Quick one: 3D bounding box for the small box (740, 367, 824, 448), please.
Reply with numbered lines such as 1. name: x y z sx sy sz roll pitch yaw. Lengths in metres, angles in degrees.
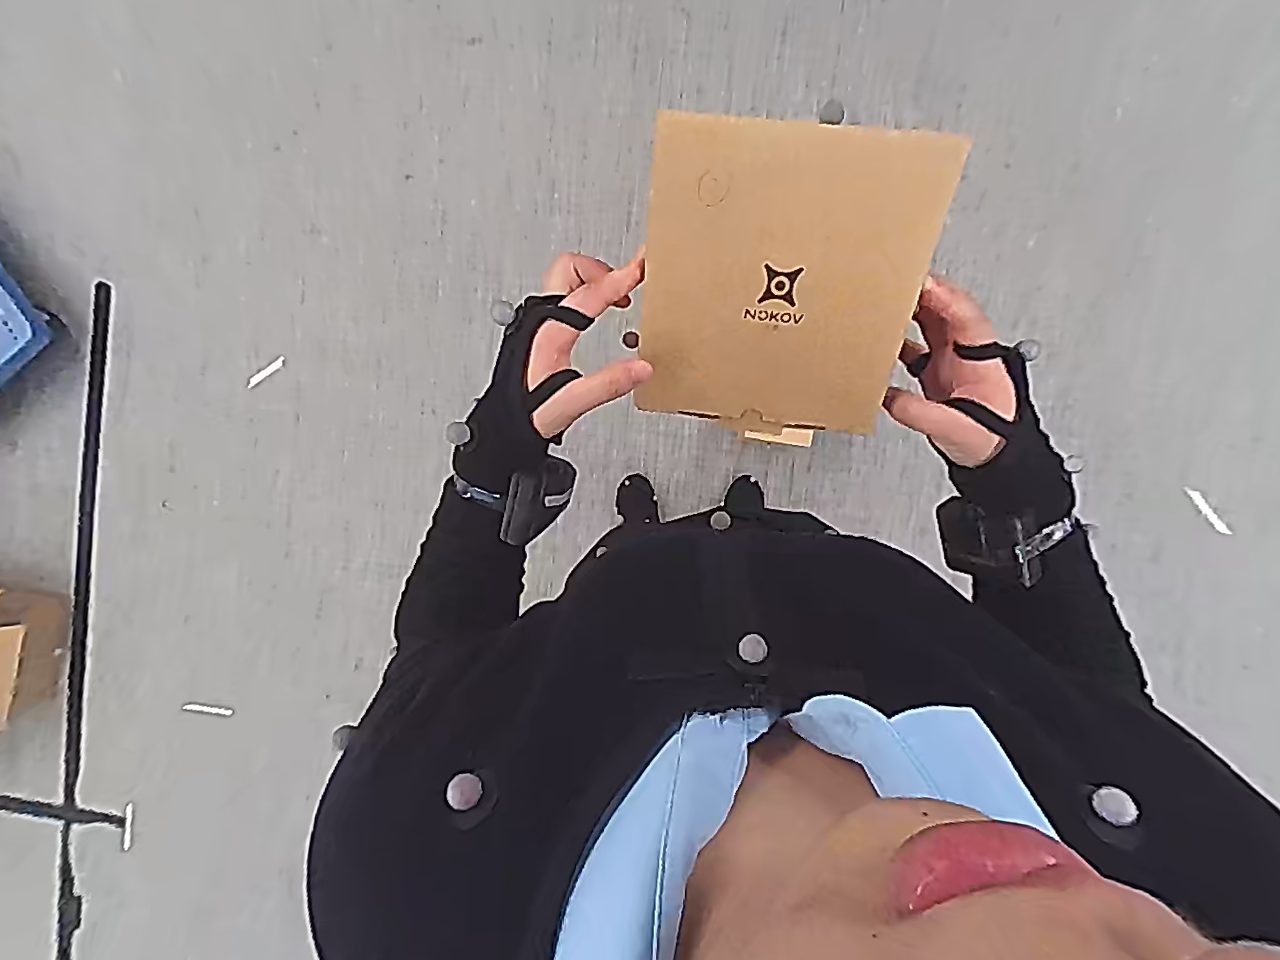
1. small box: 0.358 -0.180 1.394 0.168 0.176 0.179 10 92 3
